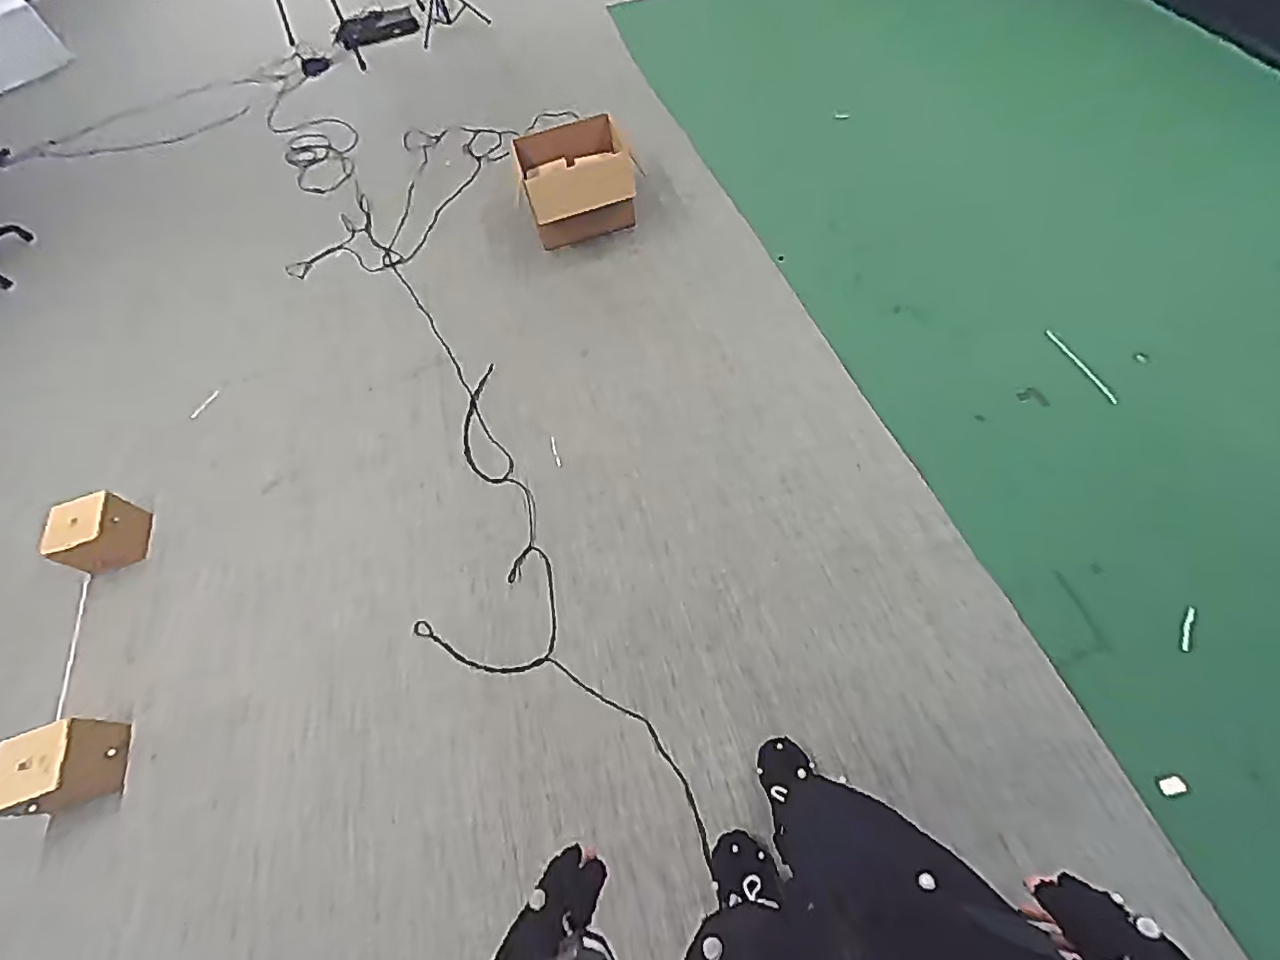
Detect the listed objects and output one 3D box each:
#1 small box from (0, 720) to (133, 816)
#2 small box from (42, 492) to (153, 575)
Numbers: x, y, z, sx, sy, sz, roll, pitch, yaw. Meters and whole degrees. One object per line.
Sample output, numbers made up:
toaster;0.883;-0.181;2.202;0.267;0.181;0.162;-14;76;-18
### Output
small box;-1.435;0.719;1.345;0.179;0.176;0.168;-20;61;-4
small box;-1.672;0.170;1.680;0.168;0.176;0.179;-19;61;-4
